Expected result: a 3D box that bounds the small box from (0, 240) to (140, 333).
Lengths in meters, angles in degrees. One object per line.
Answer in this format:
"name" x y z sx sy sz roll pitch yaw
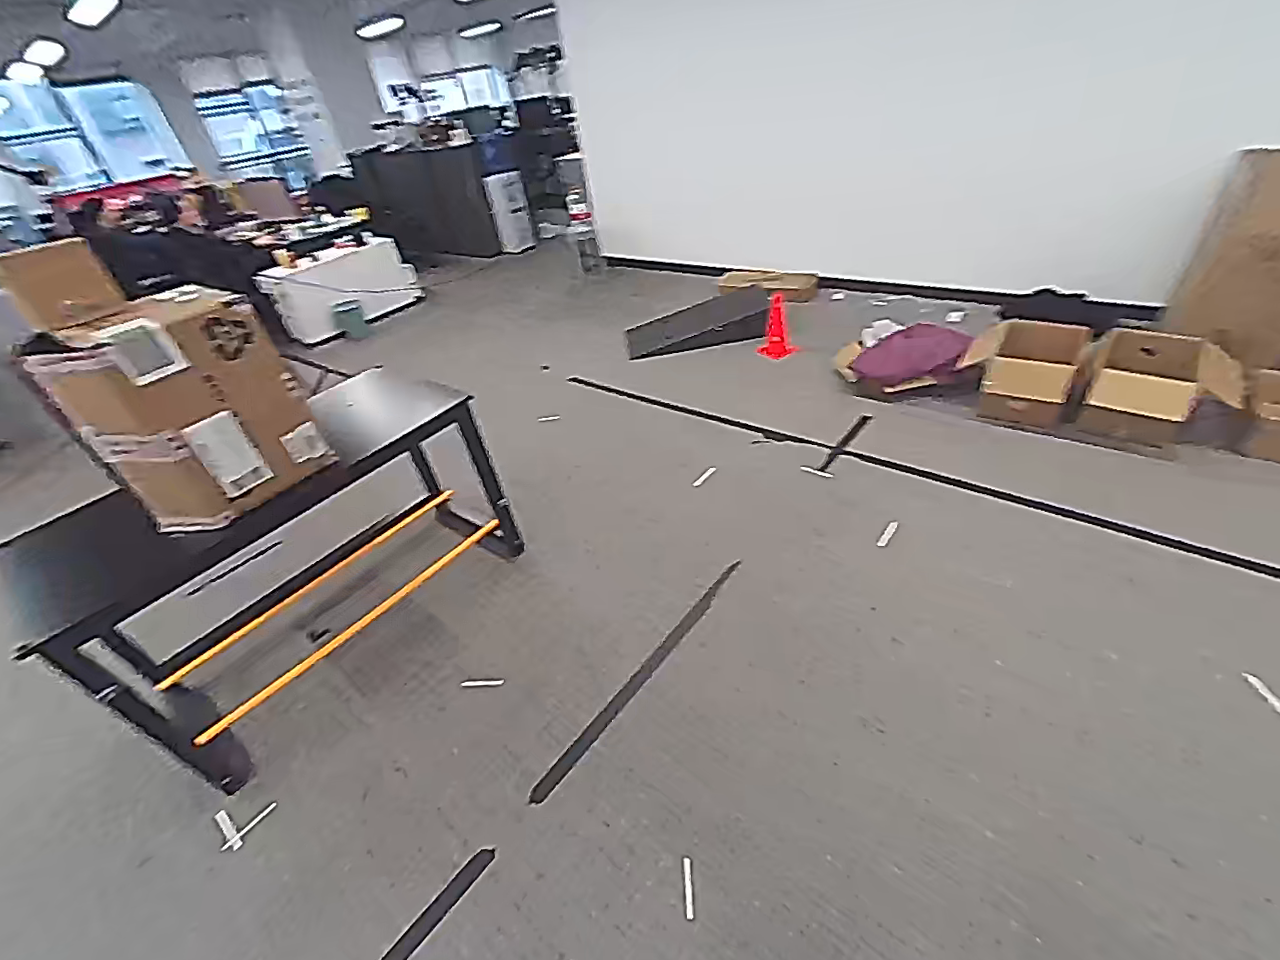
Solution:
"small box" -1.359 -0.460 1.288 0.179 0.176 0.168 15 43 33
